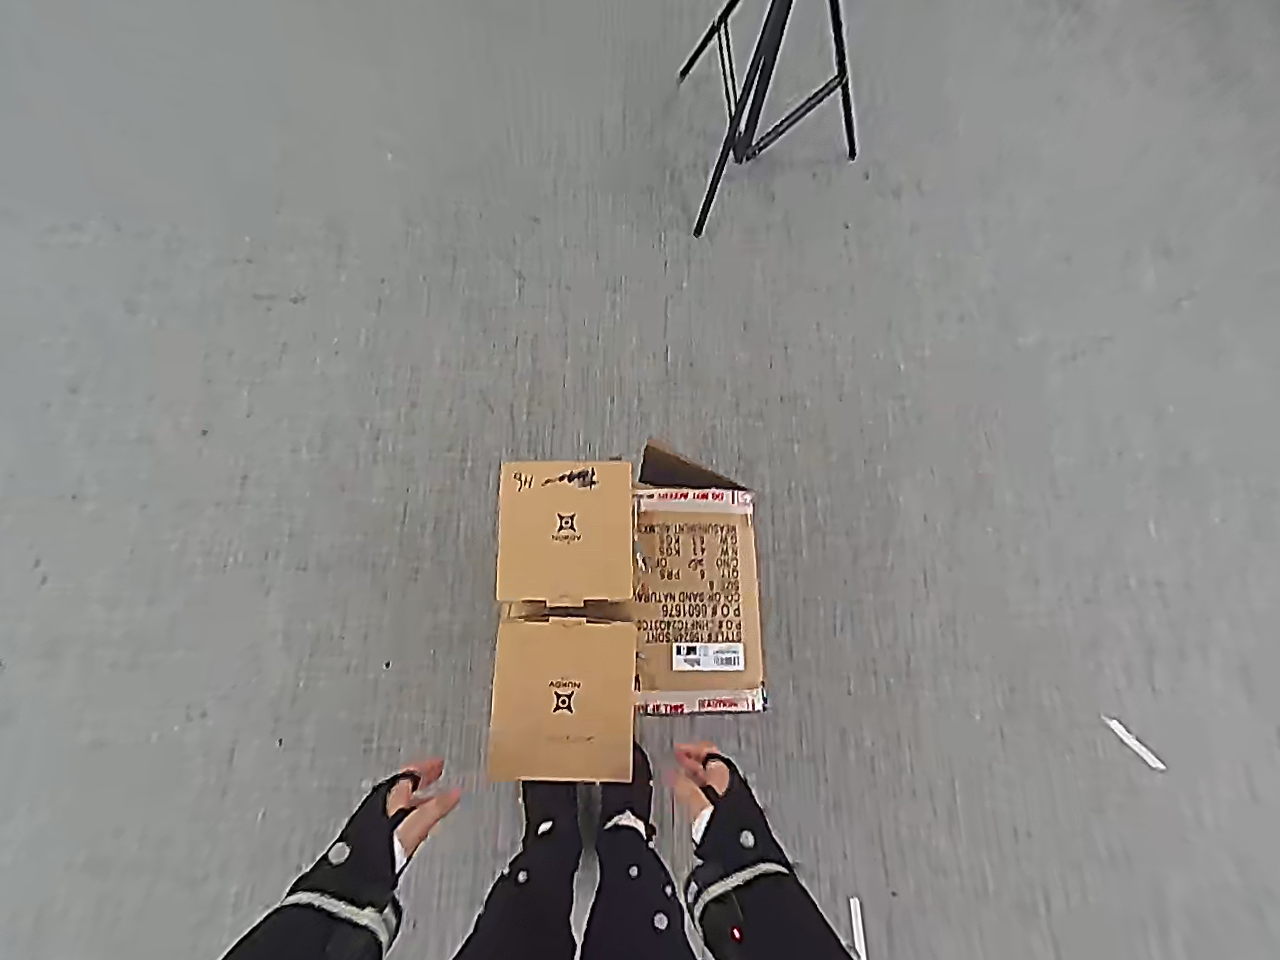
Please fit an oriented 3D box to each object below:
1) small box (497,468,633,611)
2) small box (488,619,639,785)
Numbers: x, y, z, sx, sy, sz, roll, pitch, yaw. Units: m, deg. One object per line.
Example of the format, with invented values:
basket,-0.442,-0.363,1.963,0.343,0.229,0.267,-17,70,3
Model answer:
small box,-0.093,0.085,0.744,0.168,0.176,0.179,-1,78,-2
small box,-0.089,0.273,0.701,0.168,0.176,0.179,1,78,-1
